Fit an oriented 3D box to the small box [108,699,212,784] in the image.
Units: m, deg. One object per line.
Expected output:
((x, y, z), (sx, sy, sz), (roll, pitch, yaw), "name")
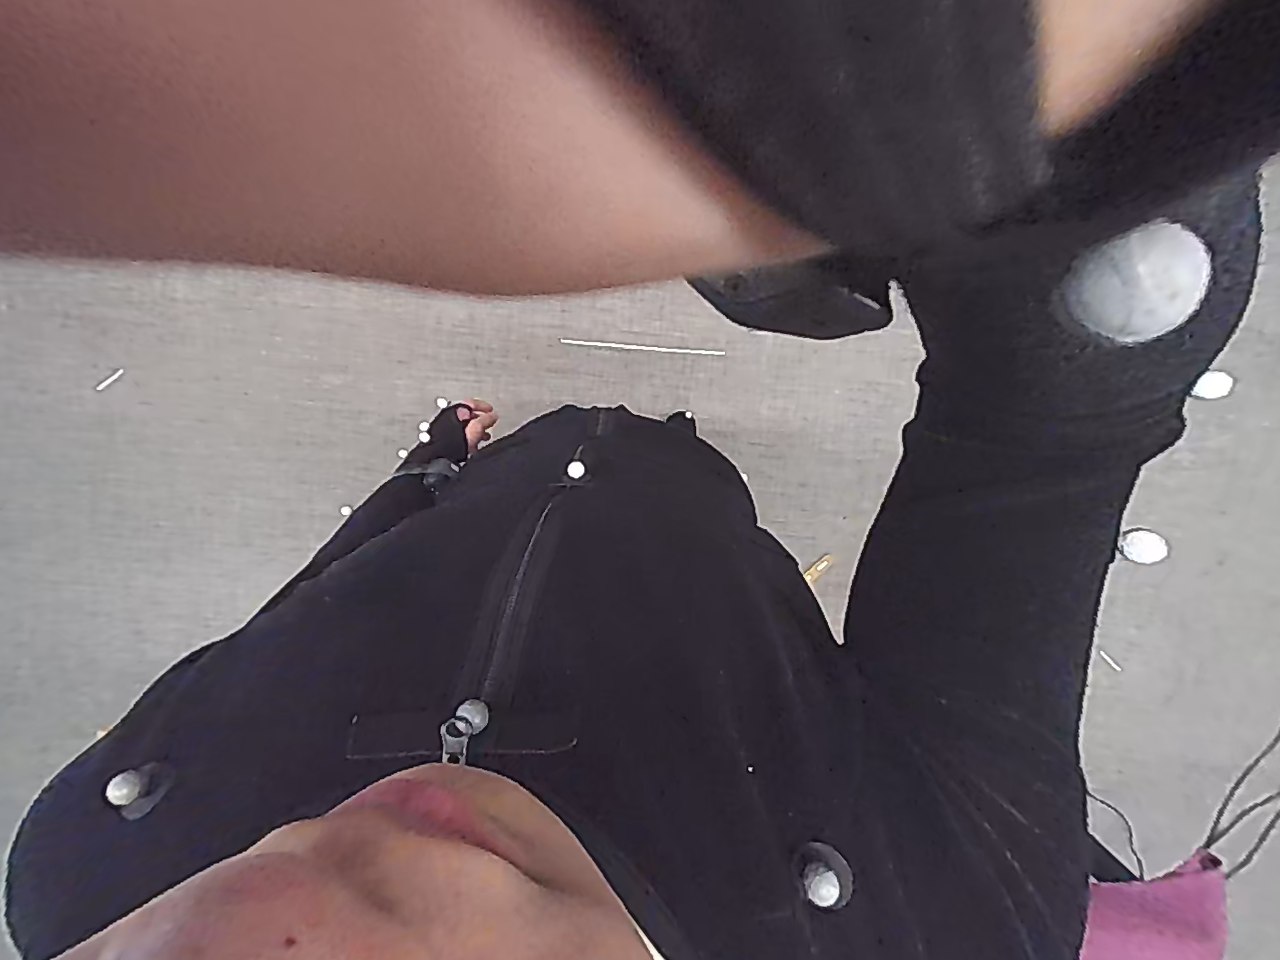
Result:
((-1.460, 0.792, 1.650), (0.179, 0.176, 0.168), (6, 97, -1), "small box")
